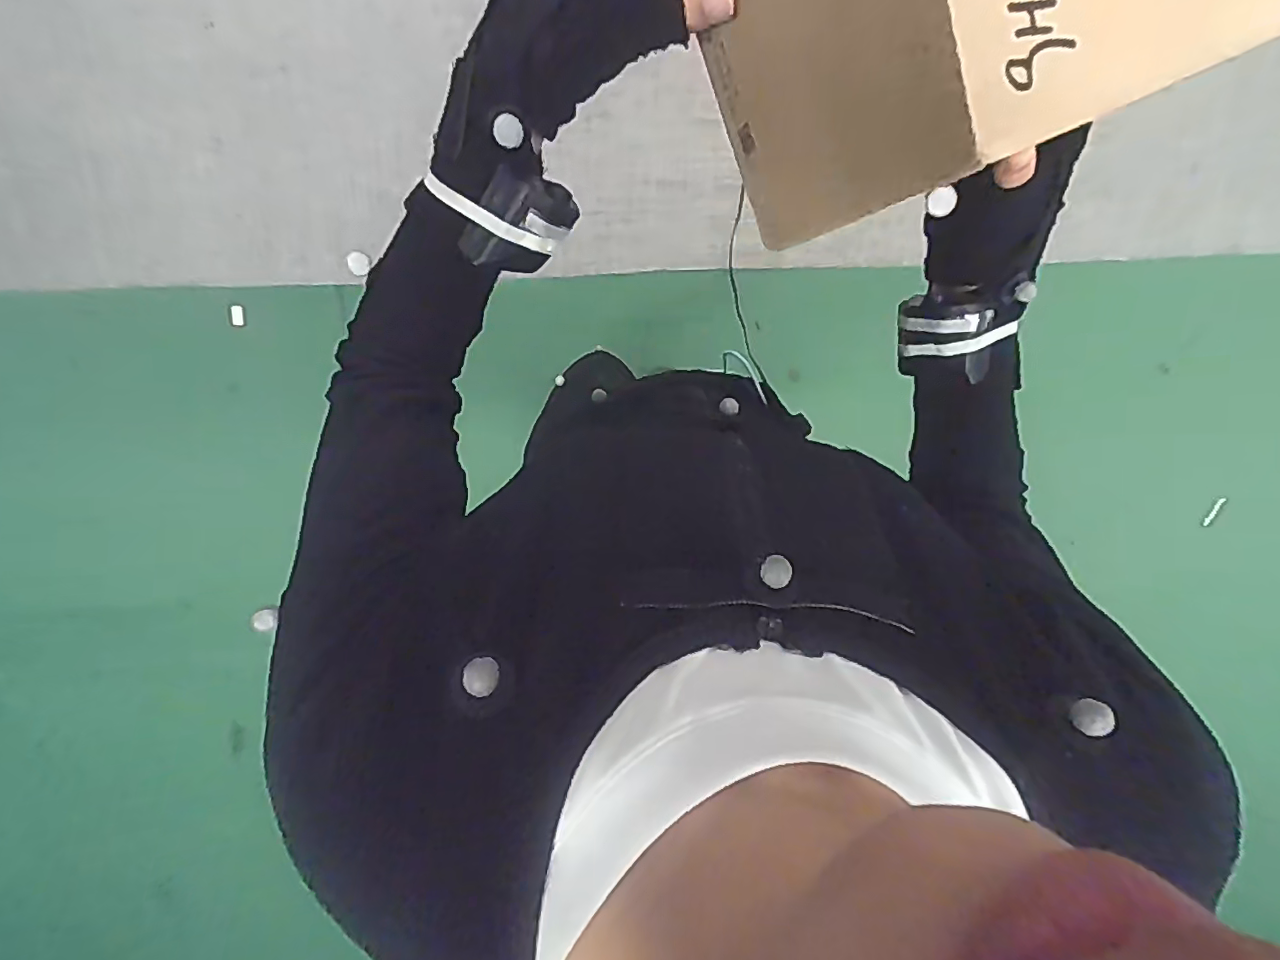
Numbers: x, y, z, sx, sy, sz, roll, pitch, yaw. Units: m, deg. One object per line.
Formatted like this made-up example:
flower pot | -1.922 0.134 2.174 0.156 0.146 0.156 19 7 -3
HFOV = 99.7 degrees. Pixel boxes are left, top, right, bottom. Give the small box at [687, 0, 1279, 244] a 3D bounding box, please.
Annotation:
small box | 0.139 -0.224 0.231 0.179 0.176 0.168 -25 107 -5
